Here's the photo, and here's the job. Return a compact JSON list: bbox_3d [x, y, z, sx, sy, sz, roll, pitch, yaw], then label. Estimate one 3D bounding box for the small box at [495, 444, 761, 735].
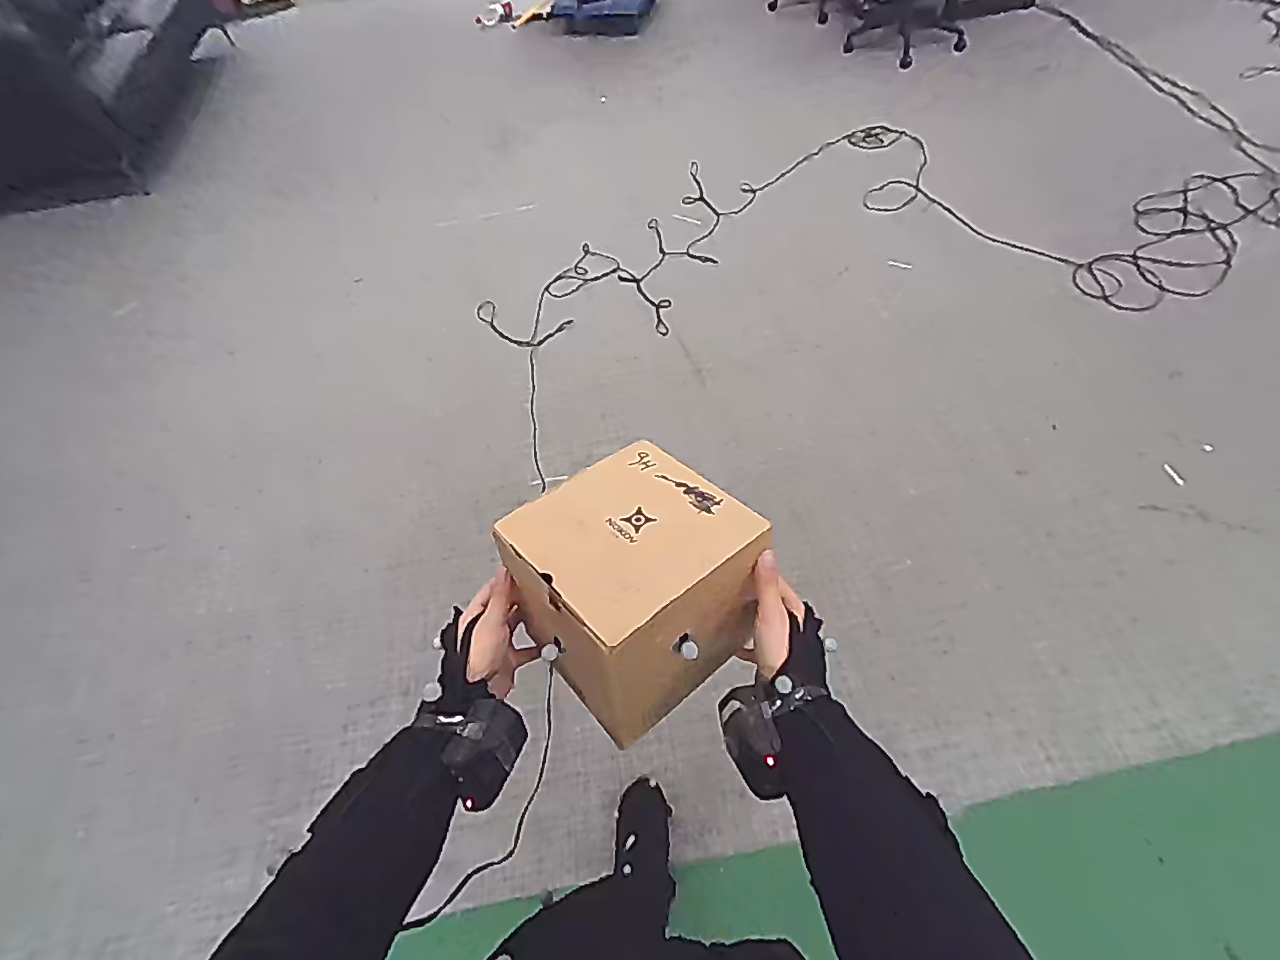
[{"bbox_3d":[-0.007,0.101,0.516,0.179,0.176,0.168,-31,49,-27],"label":"small box"}]
